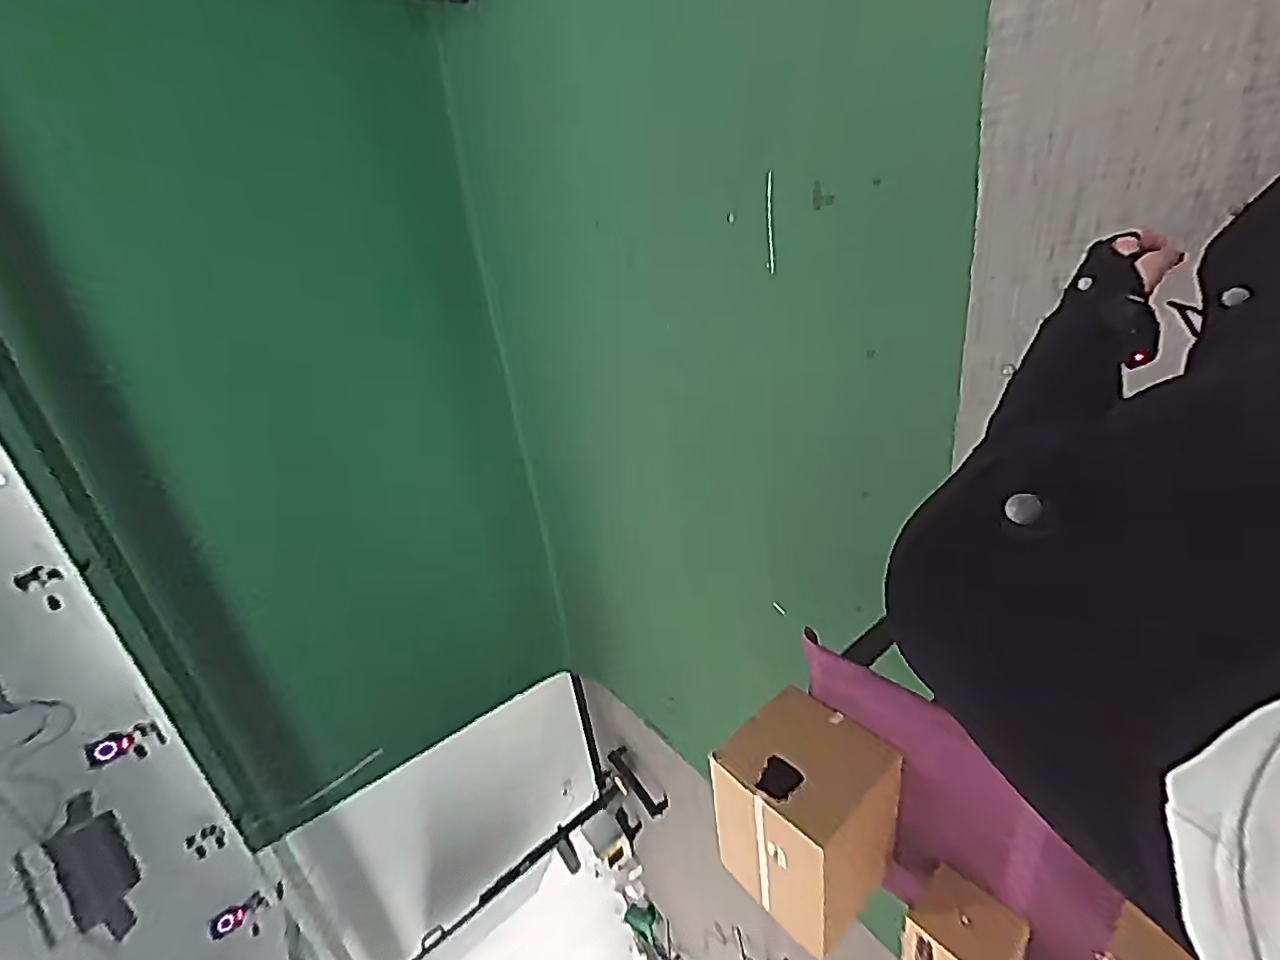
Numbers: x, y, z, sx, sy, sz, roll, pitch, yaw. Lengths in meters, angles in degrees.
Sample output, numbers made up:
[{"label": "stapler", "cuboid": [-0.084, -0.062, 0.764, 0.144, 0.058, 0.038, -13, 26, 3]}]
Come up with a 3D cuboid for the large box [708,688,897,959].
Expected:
[{"label": "large box", "cuboid": [0.395, 0.809, 1.315, 0.320, 0.320, 0.408, 19, 123, 48]}]
